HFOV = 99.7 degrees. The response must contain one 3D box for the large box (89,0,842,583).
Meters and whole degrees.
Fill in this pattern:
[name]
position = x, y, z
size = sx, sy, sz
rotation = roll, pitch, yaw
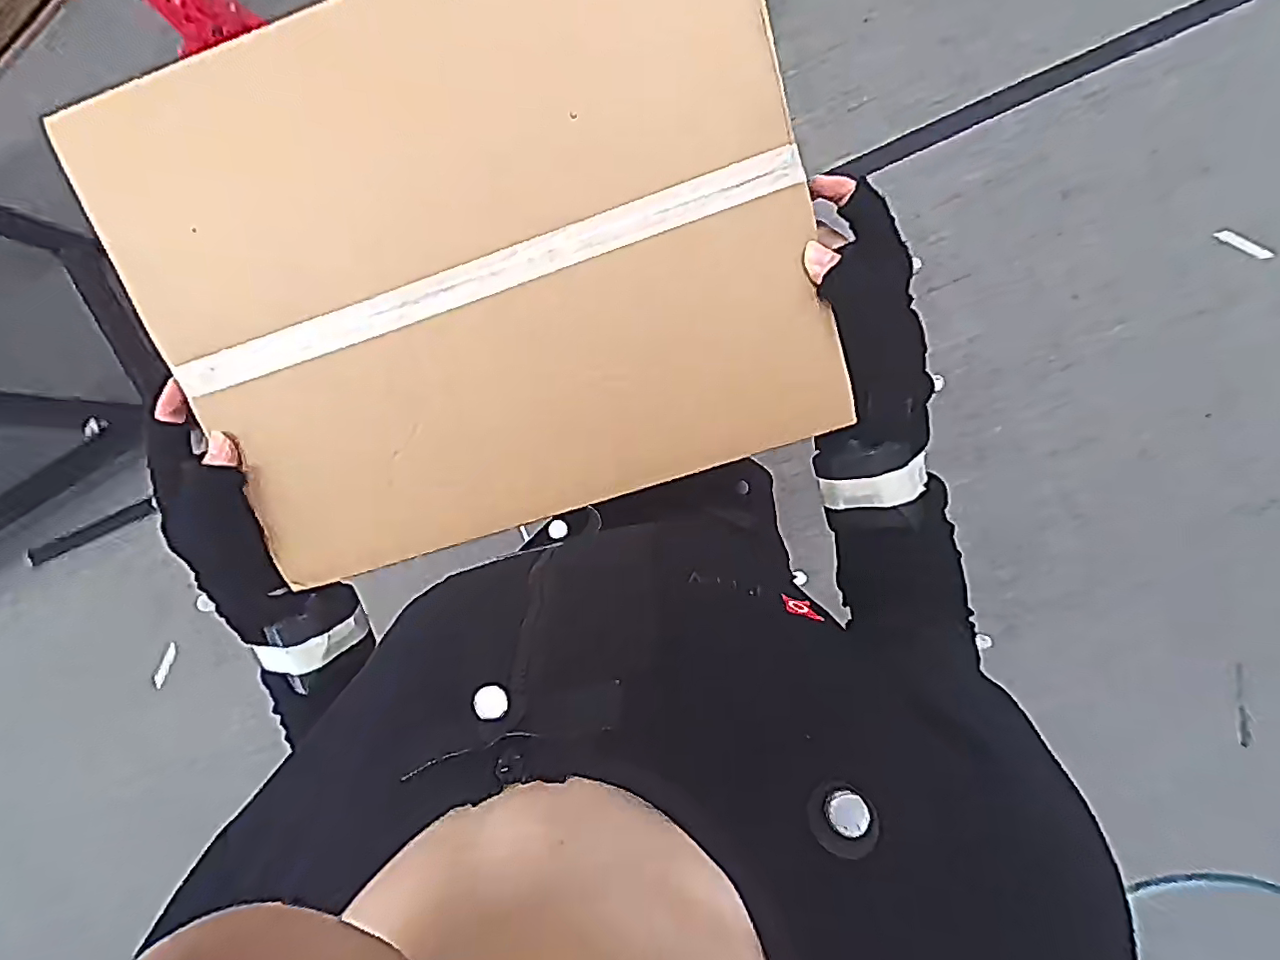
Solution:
[large box]
position = -0.094, -0.162, 0.483
size = 0.408, 0.320, 0.320
rotation = -17, 104, 6
